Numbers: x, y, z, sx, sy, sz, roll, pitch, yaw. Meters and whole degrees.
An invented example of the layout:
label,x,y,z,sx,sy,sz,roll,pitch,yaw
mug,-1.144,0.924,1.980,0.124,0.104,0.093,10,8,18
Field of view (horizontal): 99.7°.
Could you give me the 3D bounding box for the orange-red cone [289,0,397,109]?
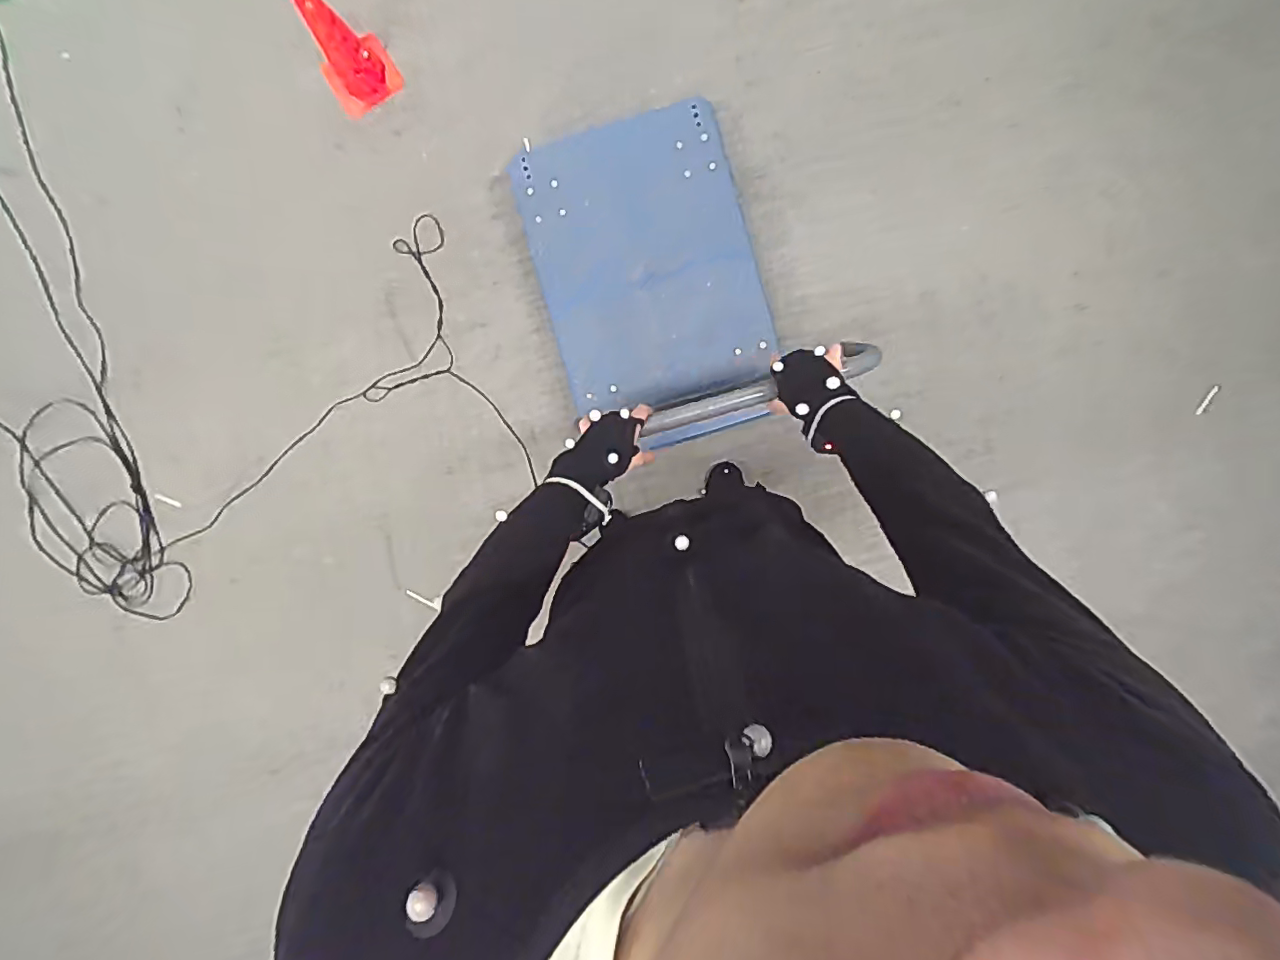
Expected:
label,x,y,z,sx,sy,sz,roll,pitch,yaw
orange-red cone,-0.861,-1.236,1.458,0.199,0.360,0.198,-31,89,4
